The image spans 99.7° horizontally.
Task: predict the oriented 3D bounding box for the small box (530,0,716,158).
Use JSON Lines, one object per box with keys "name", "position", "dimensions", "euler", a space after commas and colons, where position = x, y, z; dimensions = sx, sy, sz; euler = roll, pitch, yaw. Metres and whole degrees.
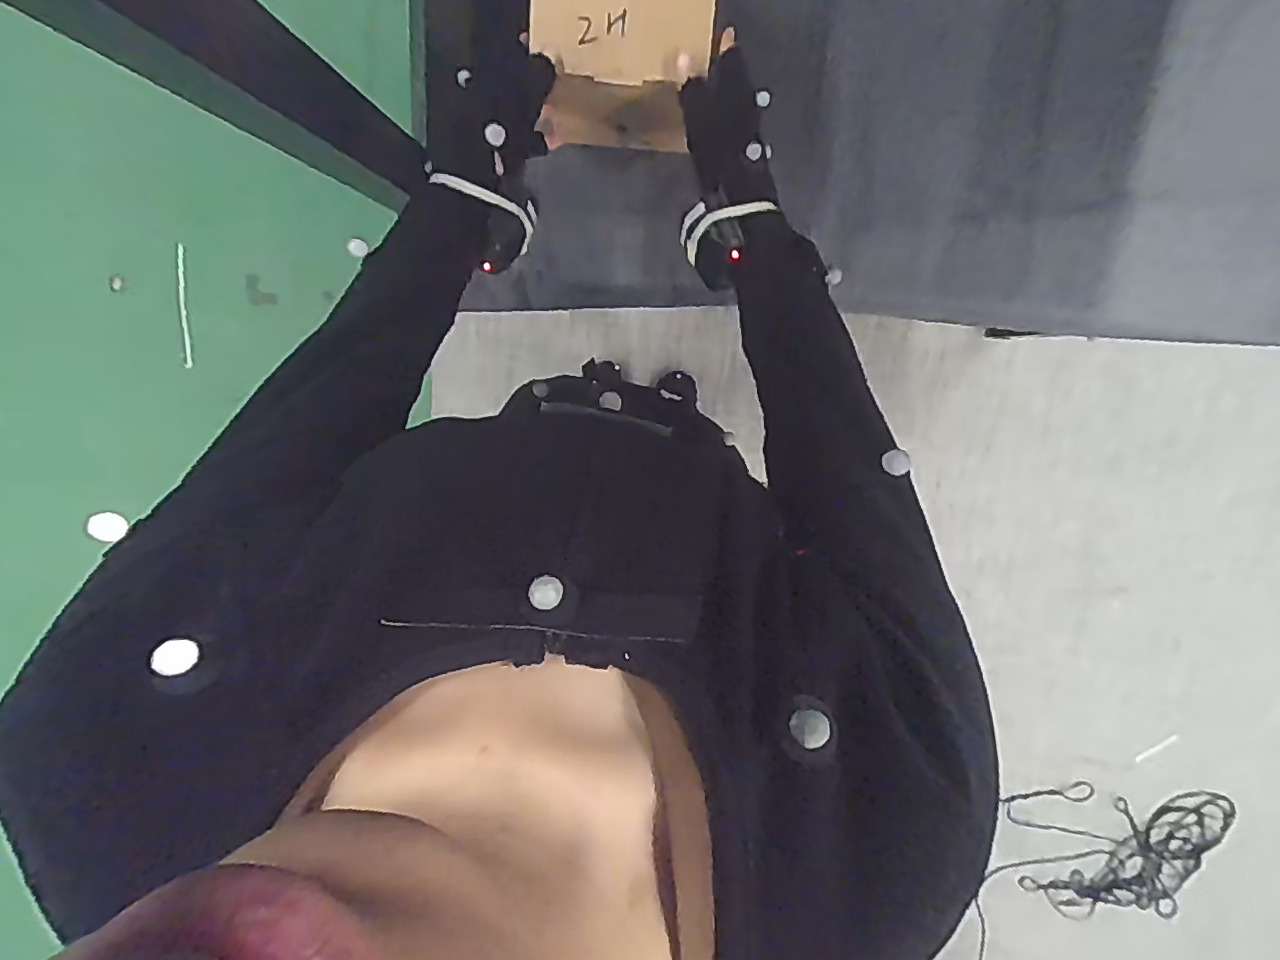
{"name": "small box", "position": [-0.012, -0.464, 0.557], "dimensions": [0.168, 0.176, 0.179], "euler": [5, 103, 1]}
